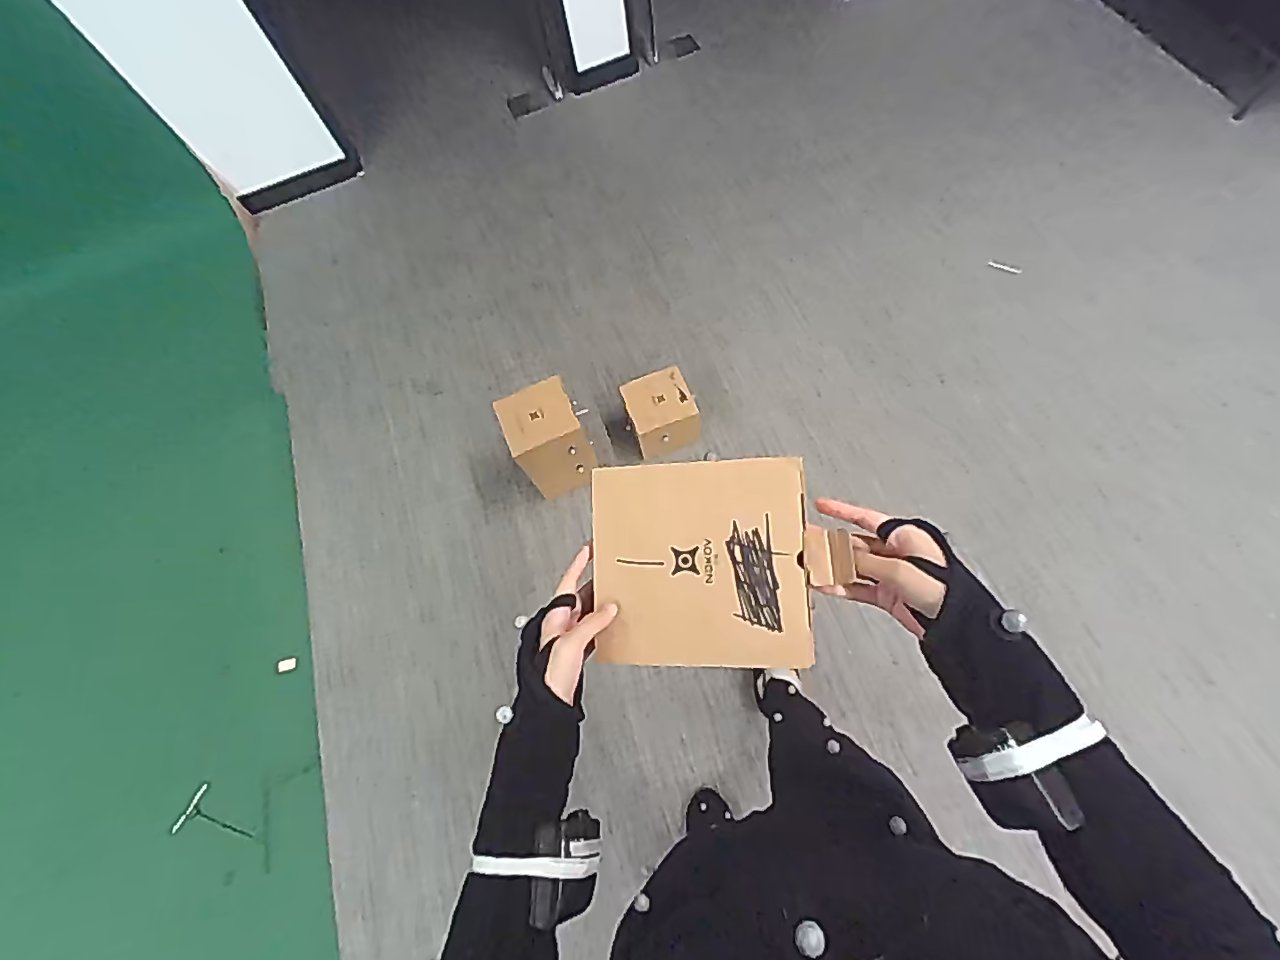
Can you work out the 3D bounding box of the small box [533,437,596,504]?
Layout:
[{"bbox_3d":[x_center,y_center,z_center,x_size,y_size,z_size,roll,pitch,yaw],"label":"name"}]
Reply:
[{"bbox_3d":[-0.222,-0.057,1.532,0.179,0.176,0.168,-25,66,-2],"label":"small box"}]

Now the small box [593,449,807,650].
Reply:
[{"bbox_3d":[0.062,0.066,0.529,0.179,0.176,0.168,-3,82,13],"label":"small box"}]

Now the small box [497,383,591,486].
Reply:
[{"bbox_3d":[-0.236,-0.111,1.378,0.179,0.176,0.168,-24,66,-2],"label":"small box"}]
